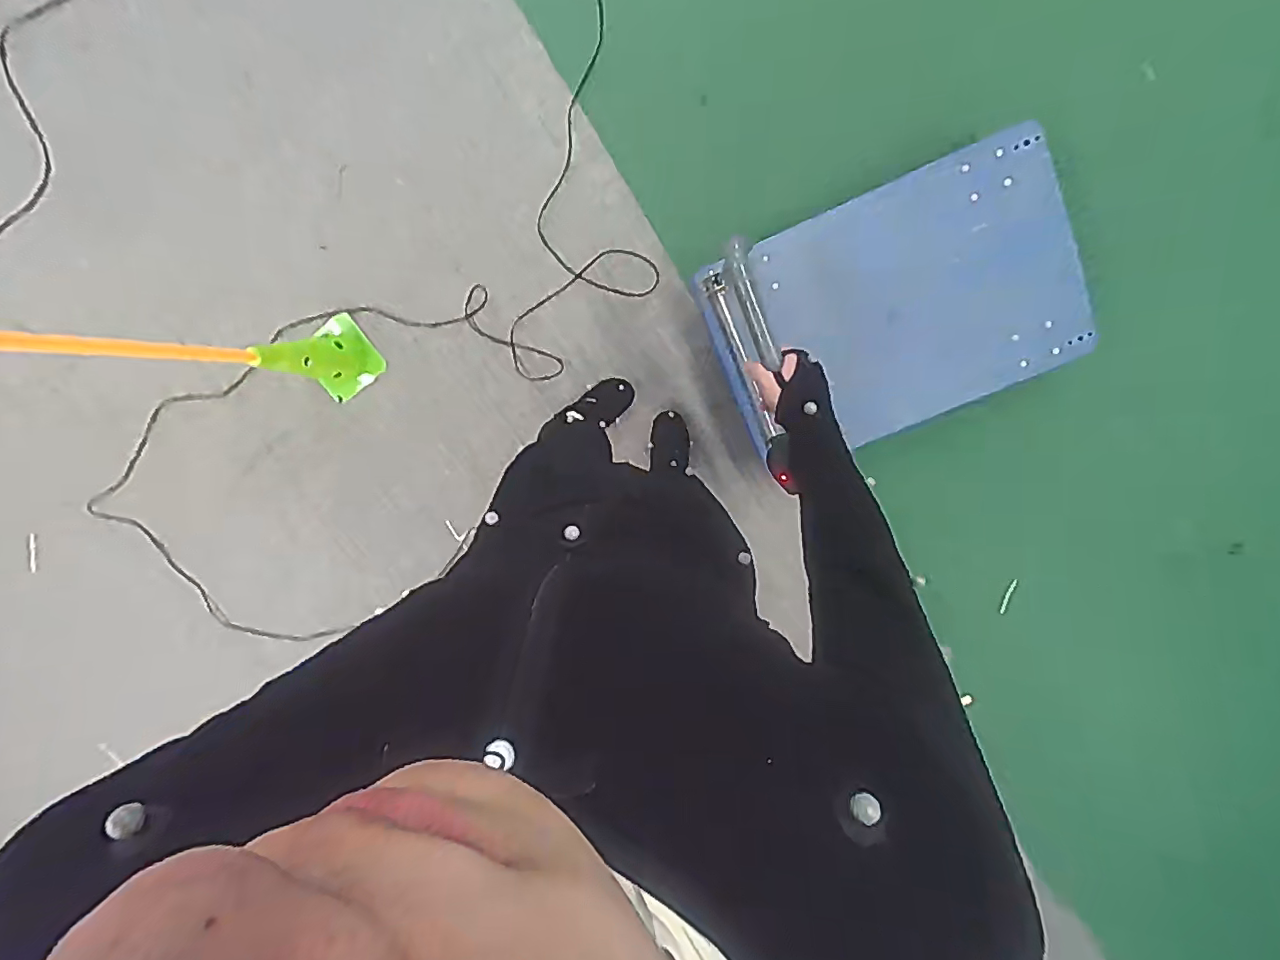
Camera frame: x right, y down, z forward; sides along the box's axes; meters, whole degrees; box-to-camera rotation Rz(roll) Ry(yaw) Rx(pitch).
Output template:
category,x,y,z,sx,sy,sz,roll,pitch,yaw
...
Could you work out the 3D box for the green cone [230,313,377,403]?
category,x,y,z,sx,sy,sz,roll,pitch,yaw
green cone,-0.891,-0.318,1.392,0.200,0.368,0.202,-36,97,8
